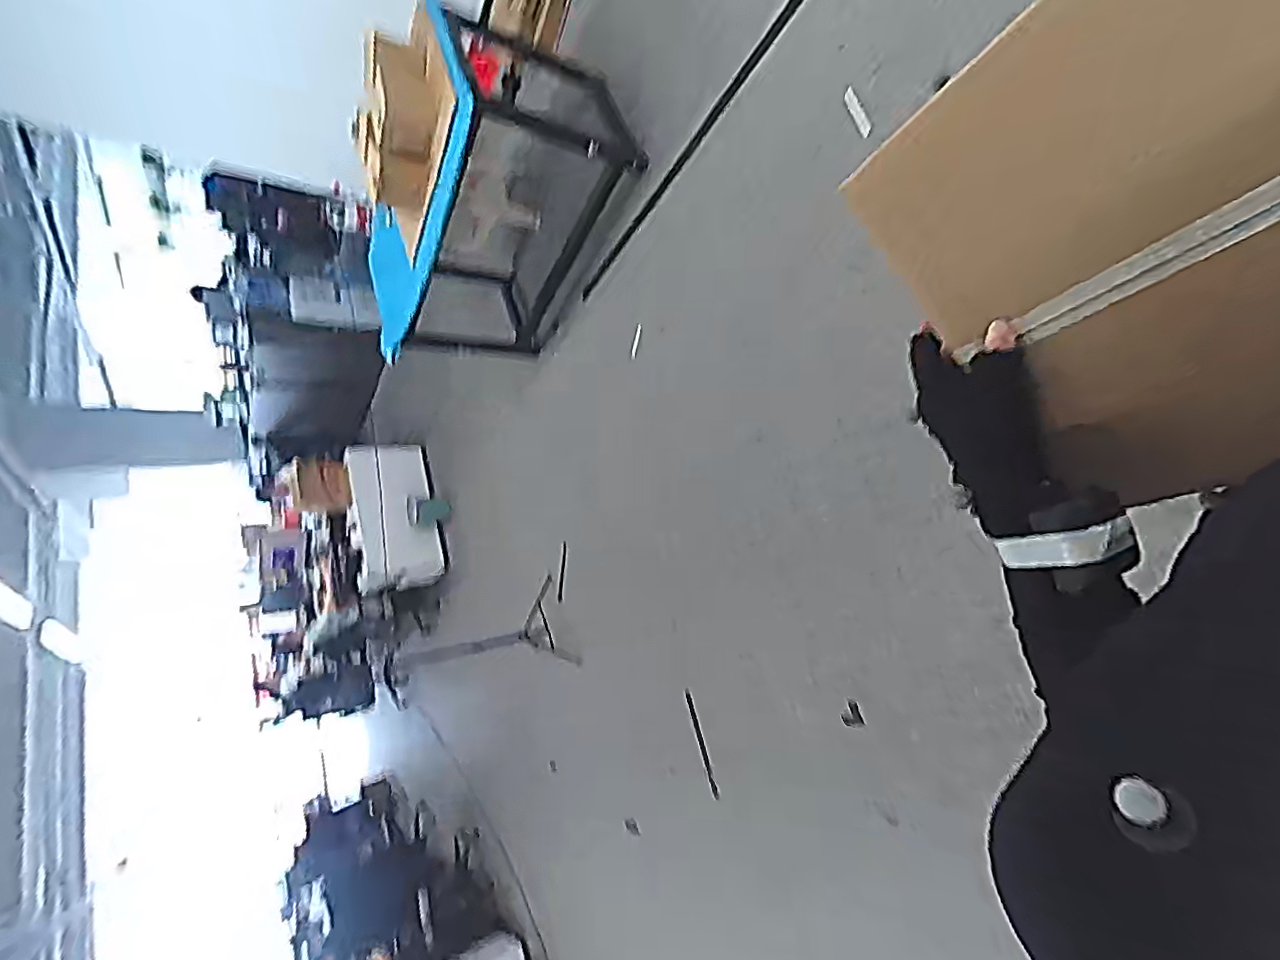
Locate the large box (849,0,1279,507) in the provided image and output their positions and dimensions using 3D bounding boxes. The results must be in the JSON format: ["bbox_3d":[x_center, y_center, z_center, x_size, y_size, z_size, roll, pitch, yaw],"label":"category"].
[{"bbox_3d":[0.433,-0.241,0.352,0.320,0.320,0.408,50,142,-5],"label":"large box"}]
